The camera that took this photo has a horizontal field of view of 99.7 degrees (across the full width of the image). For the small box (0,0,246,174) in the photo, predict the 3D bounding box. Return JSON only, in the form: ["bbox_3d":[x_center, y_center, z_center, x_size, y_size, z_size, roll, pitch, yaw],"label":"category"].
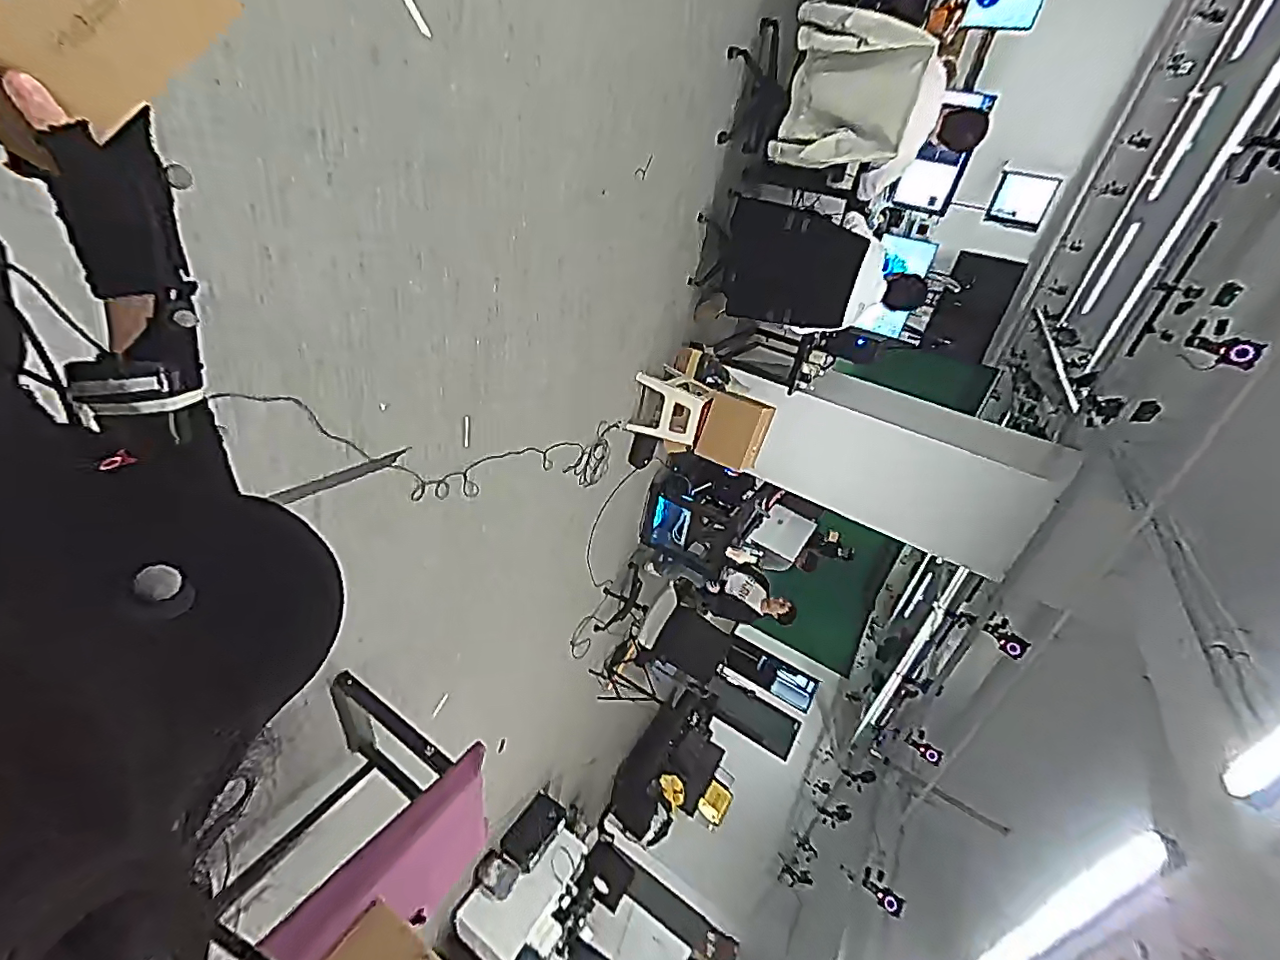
[{"bbox_3d":[-0.374,-0.317,0.276,0.168,0.176,0.179,-40,171,1],"label":"small box"}]
